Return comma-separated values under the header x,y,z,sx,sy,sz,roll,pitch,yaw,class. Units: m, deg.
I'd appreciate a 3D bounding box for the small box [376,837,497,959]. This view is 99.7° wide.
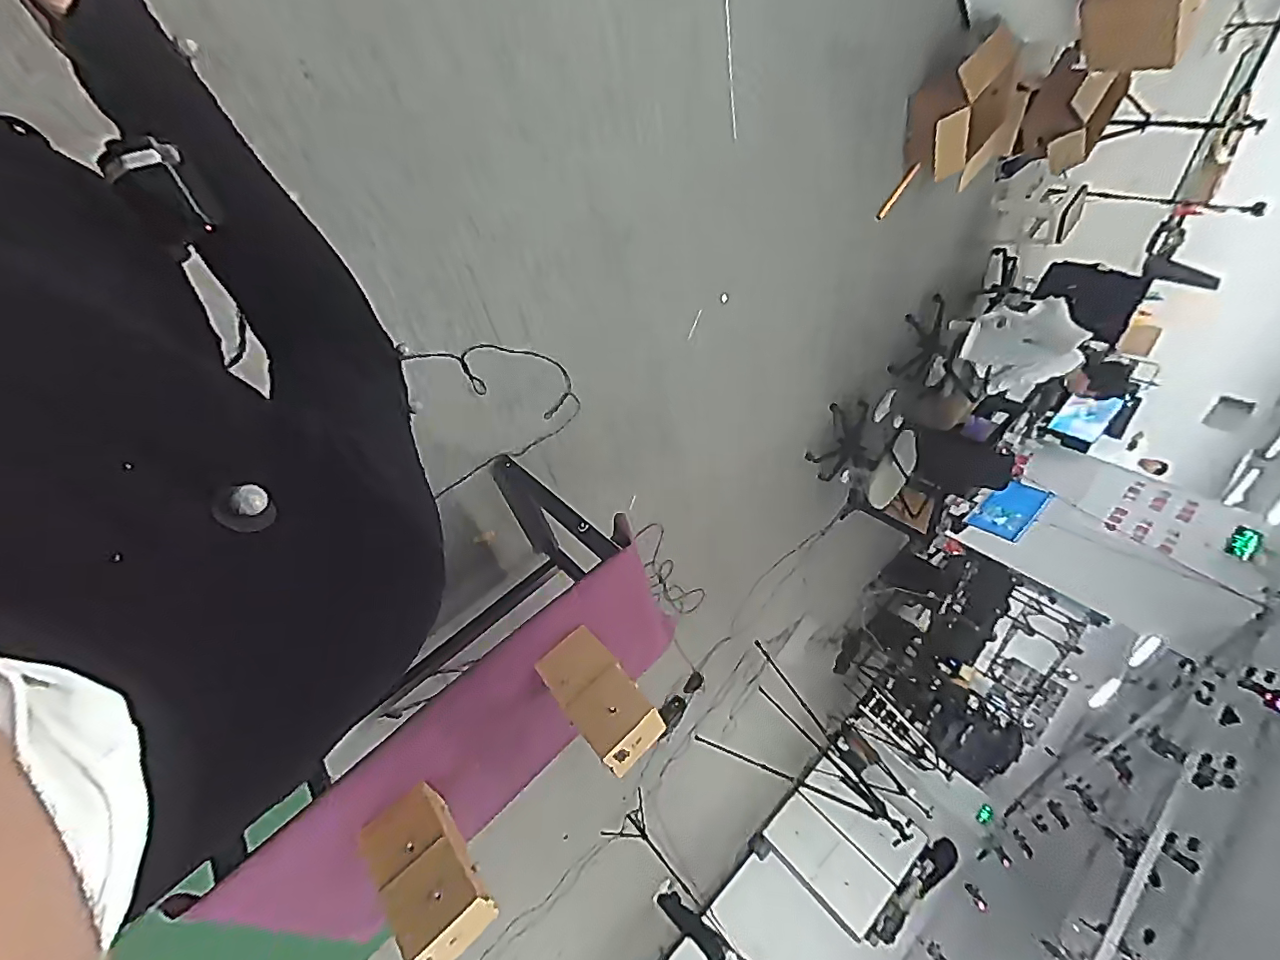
x,y,z,sx,sy,sz,roll,pitch,yaw,class
-0.465,0.970,1.240,0.179,0.176,0.168,-37,138,-28,small box

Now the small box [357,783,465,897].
x,y,z,sx,sy,sz,roll,pitch,yaw,class
-0.575,0.907,1.345,0.179,0.176,0.168,-36,138,-27,small box

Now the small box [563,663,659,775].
x,y,z,sx,sy,sz,roll,pitch,yaw,class
-0.080,0.621,1.416,0.179,0.176,0.168,-41,140,-21,small box
